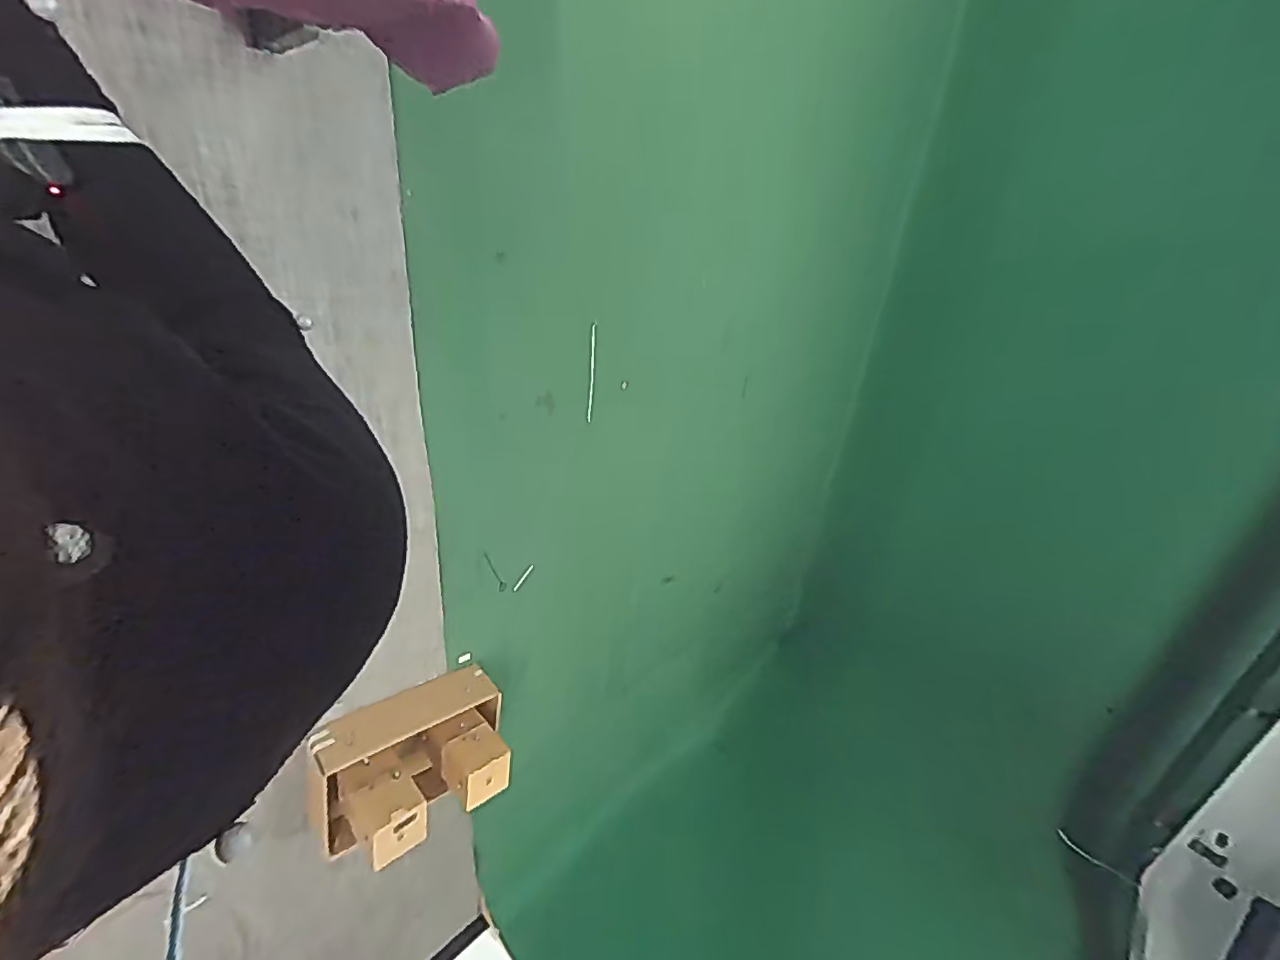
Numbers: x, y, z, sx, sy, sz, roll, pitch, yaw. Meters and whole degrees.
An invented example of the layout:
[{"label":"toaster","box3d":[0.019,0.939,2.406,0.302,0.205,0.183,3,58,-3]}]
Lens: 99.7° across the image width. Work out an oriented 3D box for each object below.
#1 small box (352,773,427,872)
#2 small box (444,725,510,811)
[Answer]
[{"label":"small box","box3d":[-0.791,1.066,1.707,0.168,0.176,0.179,-14,122,-45]},{"label":"small box","box3d":[-0.585,1.021,1.930,0.168,0.176,0.179,-12,119,-45]}]
